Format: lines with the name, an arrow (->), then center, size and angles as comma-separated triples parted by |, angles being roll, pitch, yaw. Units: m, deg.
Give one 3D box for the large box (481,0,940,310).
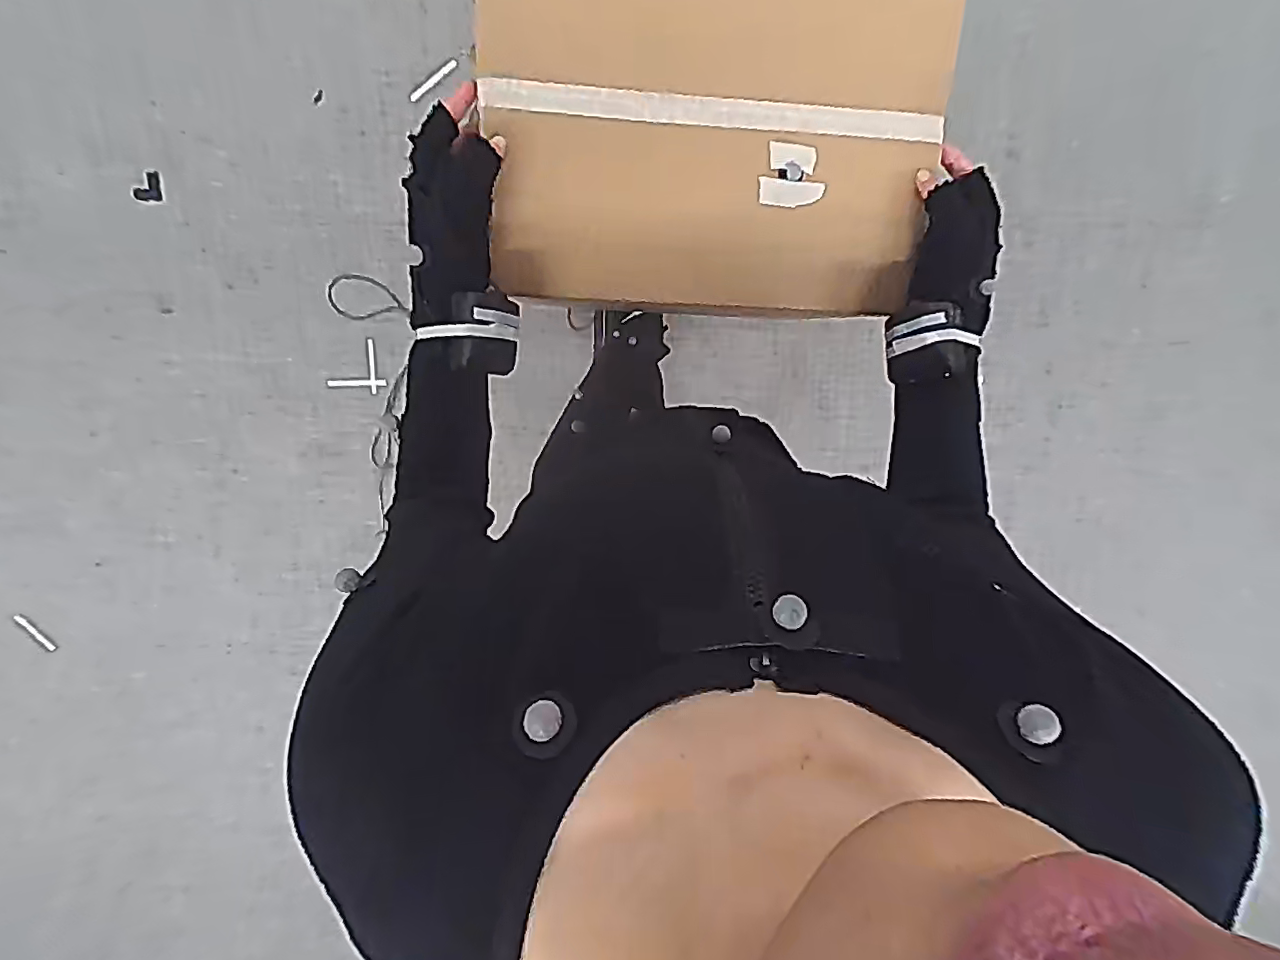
large box -> 0.049, -0.367, 0.625 | 0.408, 0.320, 0.320 | 0, 106, -6
